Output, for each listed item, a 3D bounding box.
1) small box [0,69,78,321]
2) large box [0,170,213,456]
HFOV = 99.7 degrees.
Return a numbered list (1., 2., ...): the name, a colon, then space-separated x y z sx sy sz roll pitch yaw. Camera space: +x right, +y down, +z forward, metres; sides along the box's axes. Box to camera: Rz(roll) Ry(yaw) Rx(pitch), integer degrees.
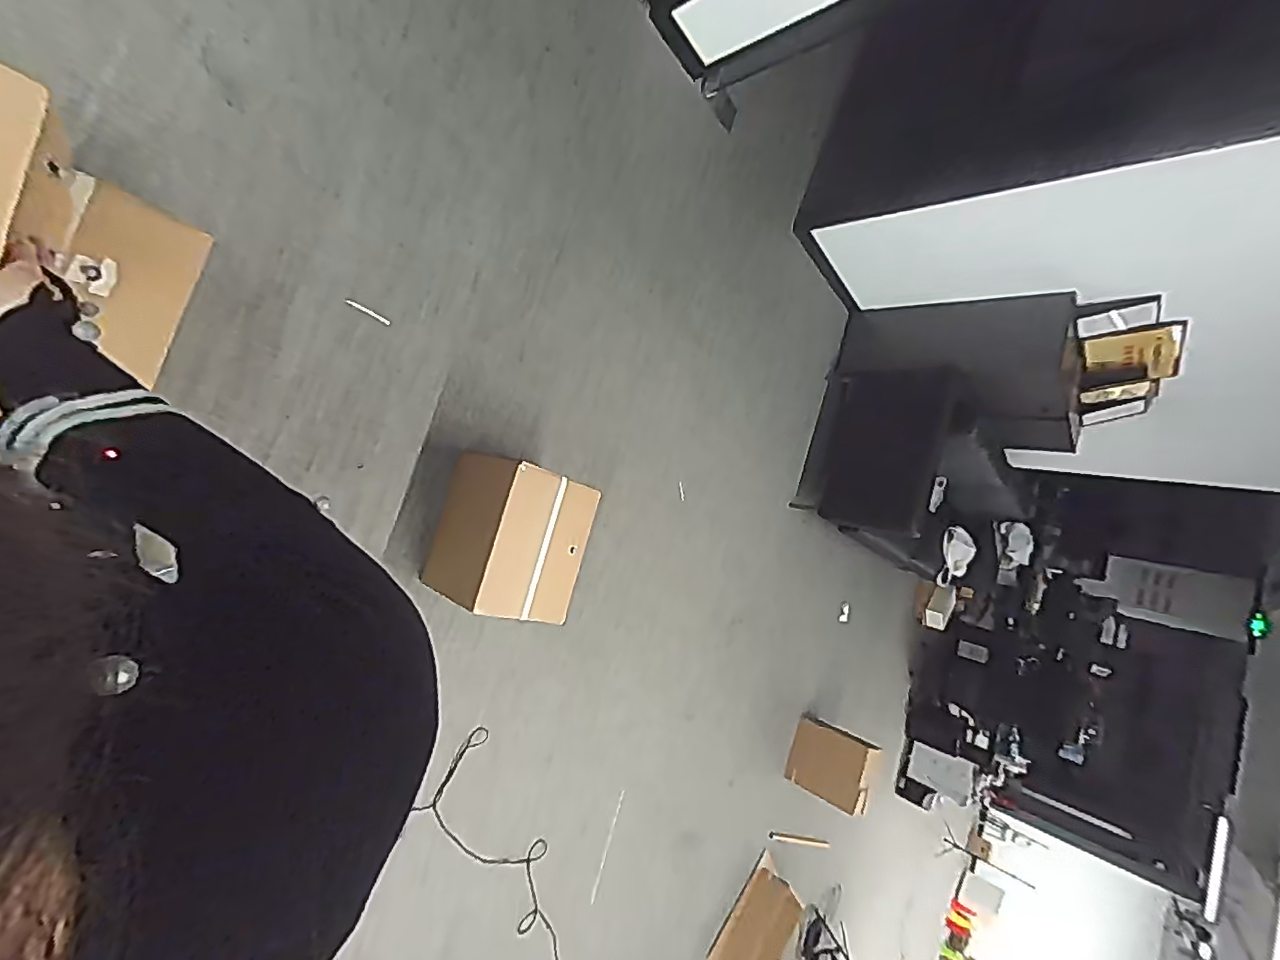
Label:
1. small box: -0.565 -0.235 0.409 0.168 0.176 0.179 17 90 -43
2. large box: -0.973 -0.278 0.888 0.320 0.320 0.408 23 80 -45
